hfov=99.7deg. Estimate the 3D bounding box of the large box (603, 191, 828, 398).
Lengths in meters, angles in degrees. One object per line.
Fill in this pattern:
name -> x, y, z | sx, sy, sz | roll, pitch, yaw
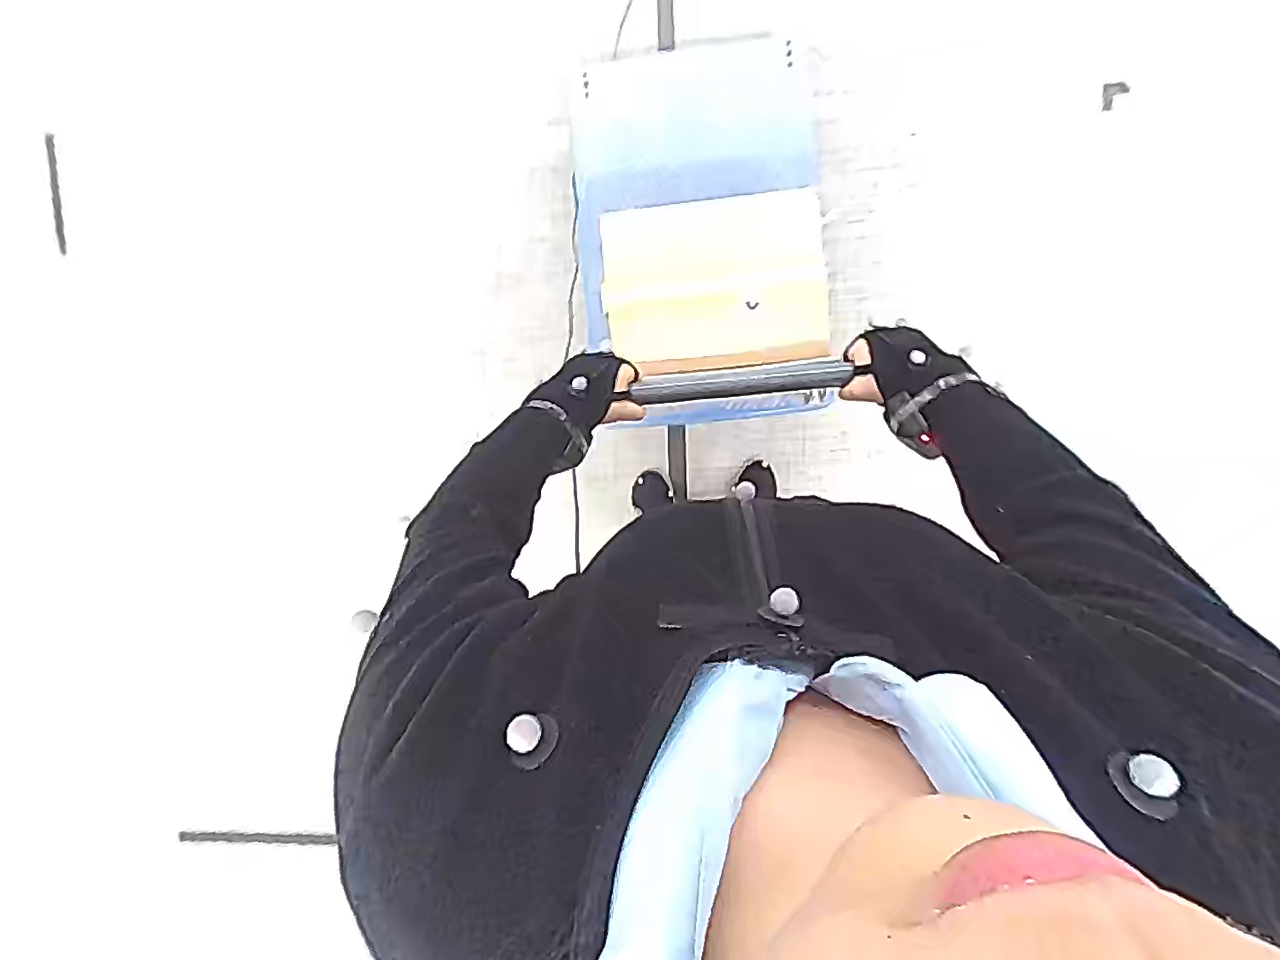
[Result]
large box -> 0.150, -0.371, 1.173 | 0.408, 0.320, 0.320 | -5, 92, 4
